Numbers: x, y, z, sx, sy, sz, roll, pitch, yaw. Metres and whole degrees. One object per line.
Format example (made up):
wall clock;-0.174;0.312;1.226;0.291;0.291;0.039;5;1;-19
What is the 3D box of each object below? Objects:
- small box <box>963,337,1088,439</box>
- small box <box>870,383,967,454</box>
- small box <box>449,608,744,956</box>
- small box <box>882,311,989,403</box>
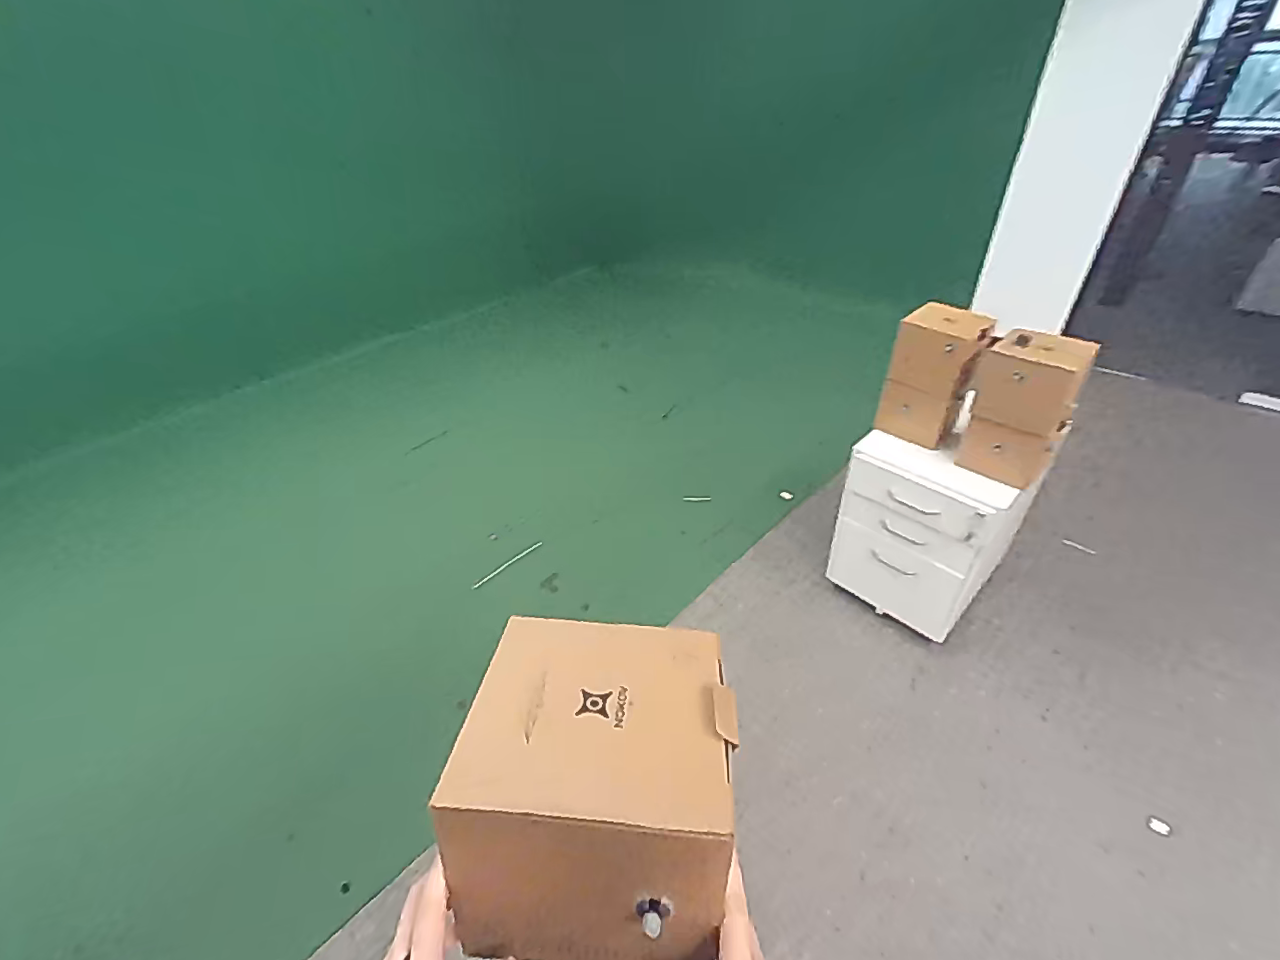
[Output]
small box;0.907;-0.219;1.287;0.168;0.176;0.179;-33;45;-31
small box;0.786;-0.200;1.543;0.168;0.176;0.179;-34;48;-32
small box;-0.023;0.223;0.417;0.179;0.176;0.168;3;25;3
small box;0.776;-0.327;1.438;0.168;0.176;0.179;-32;48;-31
